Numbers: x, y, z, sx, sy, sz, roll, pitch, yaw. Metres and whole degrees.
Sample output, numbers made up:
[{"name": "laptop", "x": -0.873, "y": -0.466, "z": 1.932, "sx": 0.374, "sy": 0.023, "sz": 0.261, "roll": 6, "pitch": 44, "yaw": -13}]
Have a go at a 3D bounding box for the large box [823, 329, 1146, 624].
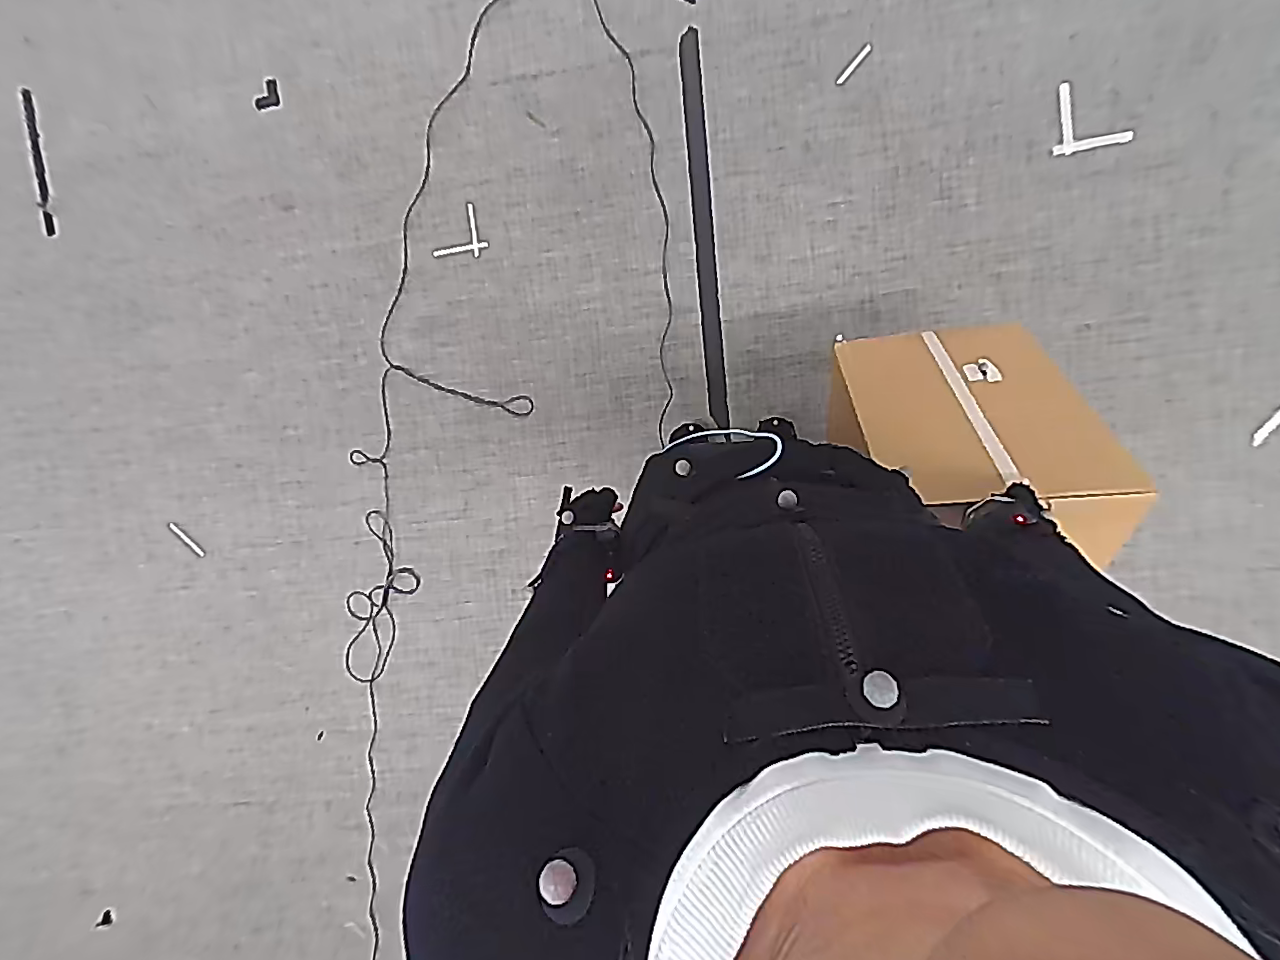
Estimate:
[{"name": "large box", "x": 0.519, "y": -0.009, "z": 0.937, "sx": 0.320, "sy": 0.408, "sz": 0.320, "roll": -4, "pitch": 134, "yaw": 8}]
